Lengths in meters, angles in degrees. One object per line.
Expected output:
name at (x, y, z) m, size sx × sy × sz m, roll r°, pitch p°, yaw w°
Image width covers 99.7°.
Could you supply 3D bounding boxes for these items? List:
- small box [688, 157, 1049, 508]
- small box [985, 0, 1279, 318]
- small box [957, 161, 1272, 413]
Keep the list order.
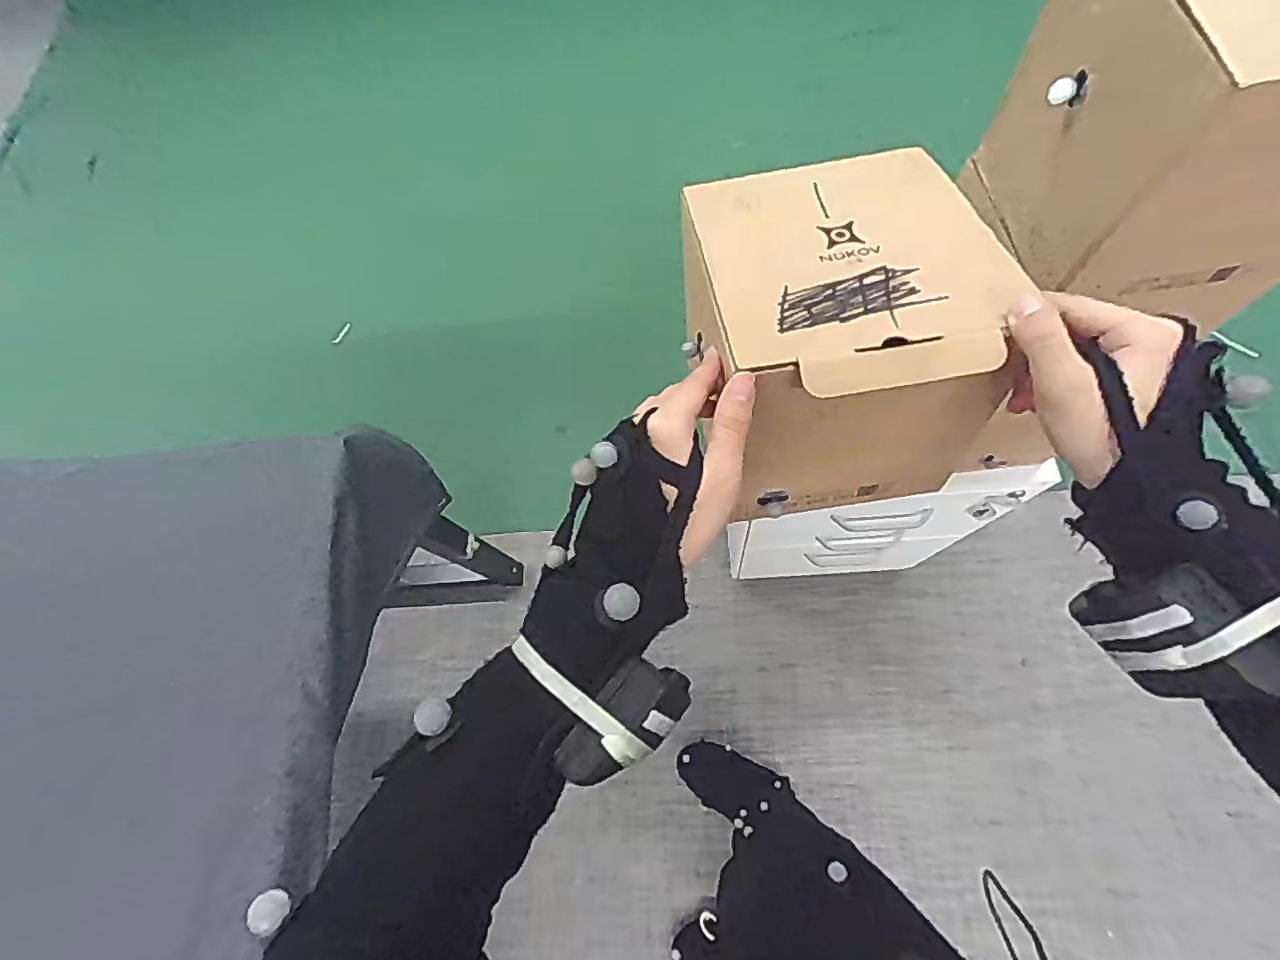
small box at (0.130, -0.092, 0.390) m, size 0.168 × 0.176 × 0.179 m, roll -8°, pitch 57°, yaw 1°
small box at (0.362, -0.234, 0.350) m, size 0.168 × 0.176 × 0.179 m, roll -6°, pitch 67°, yaw 6°
small box at (0.382, -0.175, 0.501) m, size 0.168 × 0.176 × 0.179 m, roll -8°, pitch 68°, yaw 5°
